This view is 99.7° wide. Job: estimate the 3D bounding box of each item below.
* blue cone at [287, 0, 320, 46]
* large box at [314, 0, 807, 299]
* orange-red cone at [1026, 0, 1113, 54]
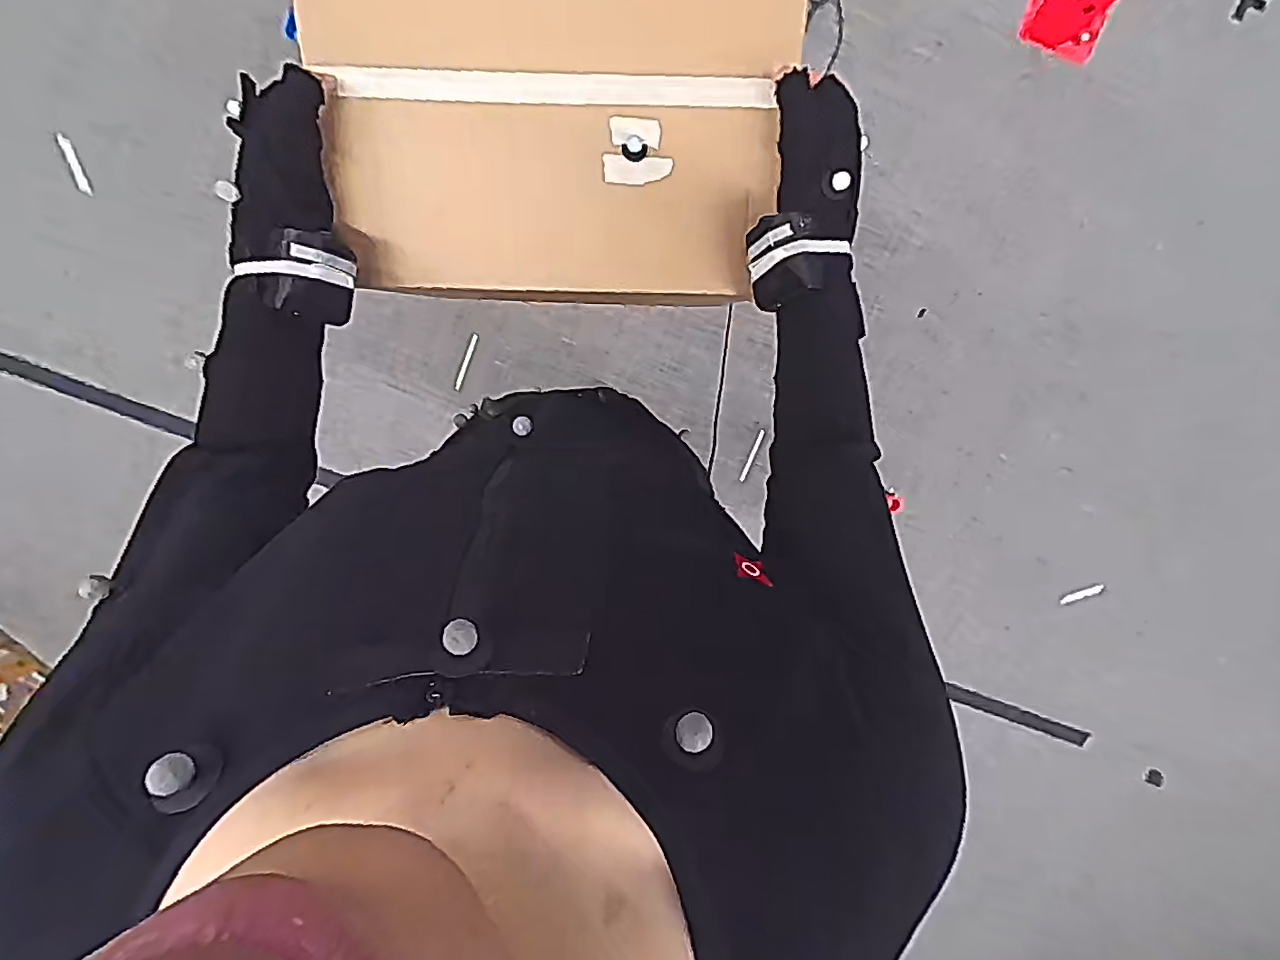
[{"bbox_3d":[-0.713,-1.081,1.105,0.192,0.380,0.193,24,97,-5],"label":"blue cone"},{"bbox_3d":[-0.070,-0.371,0.593,0.408,0.320,0.320,1,106,-2],"label":"large box"},{"bbox_3d":[1.074,-1.156,1.159,0.198,0.360,0.199,18,97,-6],"label":"orange-red cone"}]
